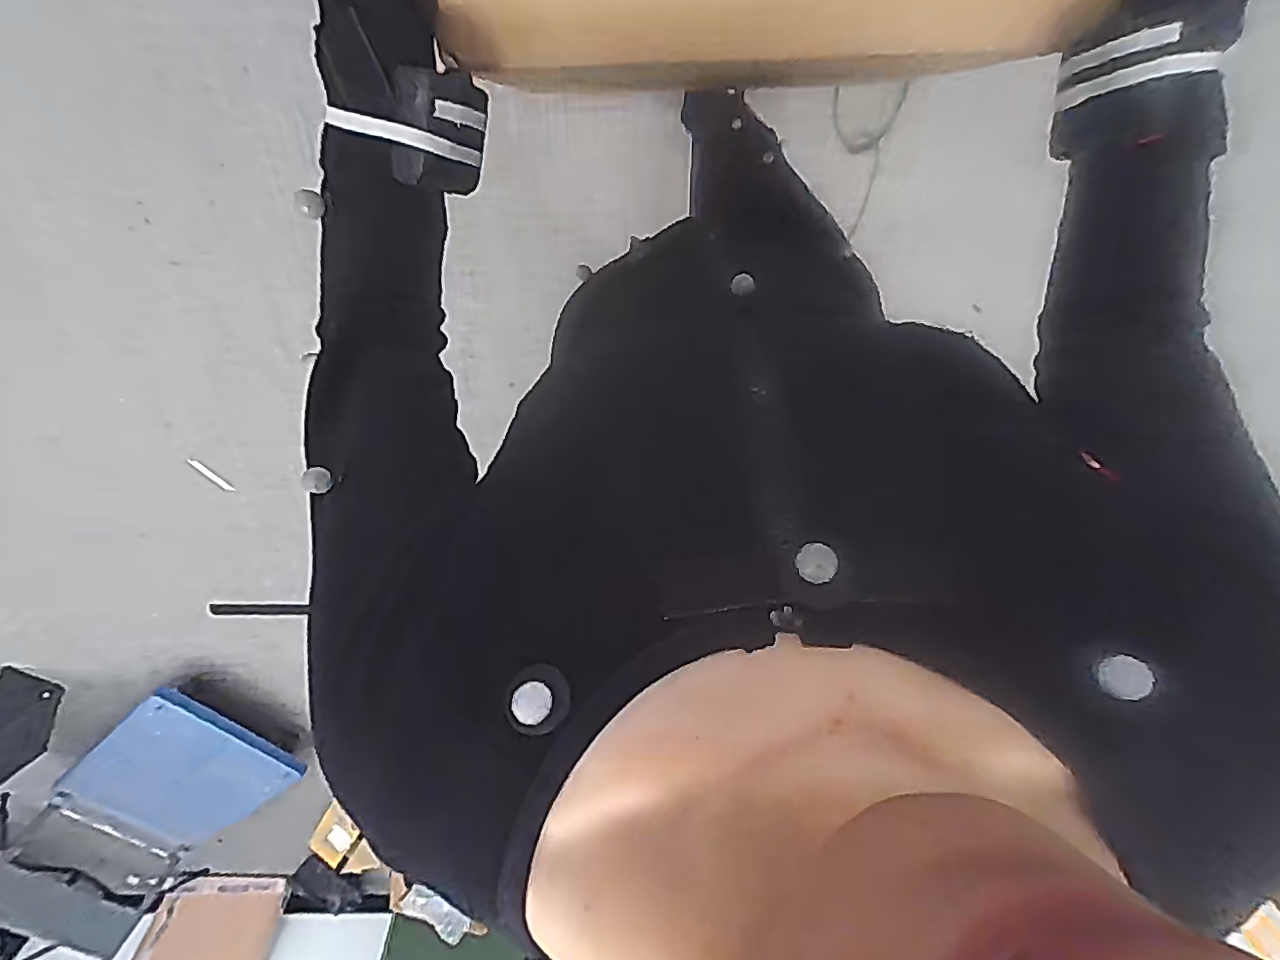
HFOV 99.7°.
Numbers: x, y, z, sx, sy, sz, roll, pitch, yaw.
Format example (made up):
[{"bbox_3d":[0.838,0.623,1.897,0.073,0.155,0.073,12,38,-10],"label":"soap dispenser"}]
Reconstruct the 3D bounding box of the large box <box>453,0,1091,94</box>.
[{"bbox_3d":[0.072,-0.487,0.387,0.408,0.320,0.320,-2,123,0],"label":"large box"}]
